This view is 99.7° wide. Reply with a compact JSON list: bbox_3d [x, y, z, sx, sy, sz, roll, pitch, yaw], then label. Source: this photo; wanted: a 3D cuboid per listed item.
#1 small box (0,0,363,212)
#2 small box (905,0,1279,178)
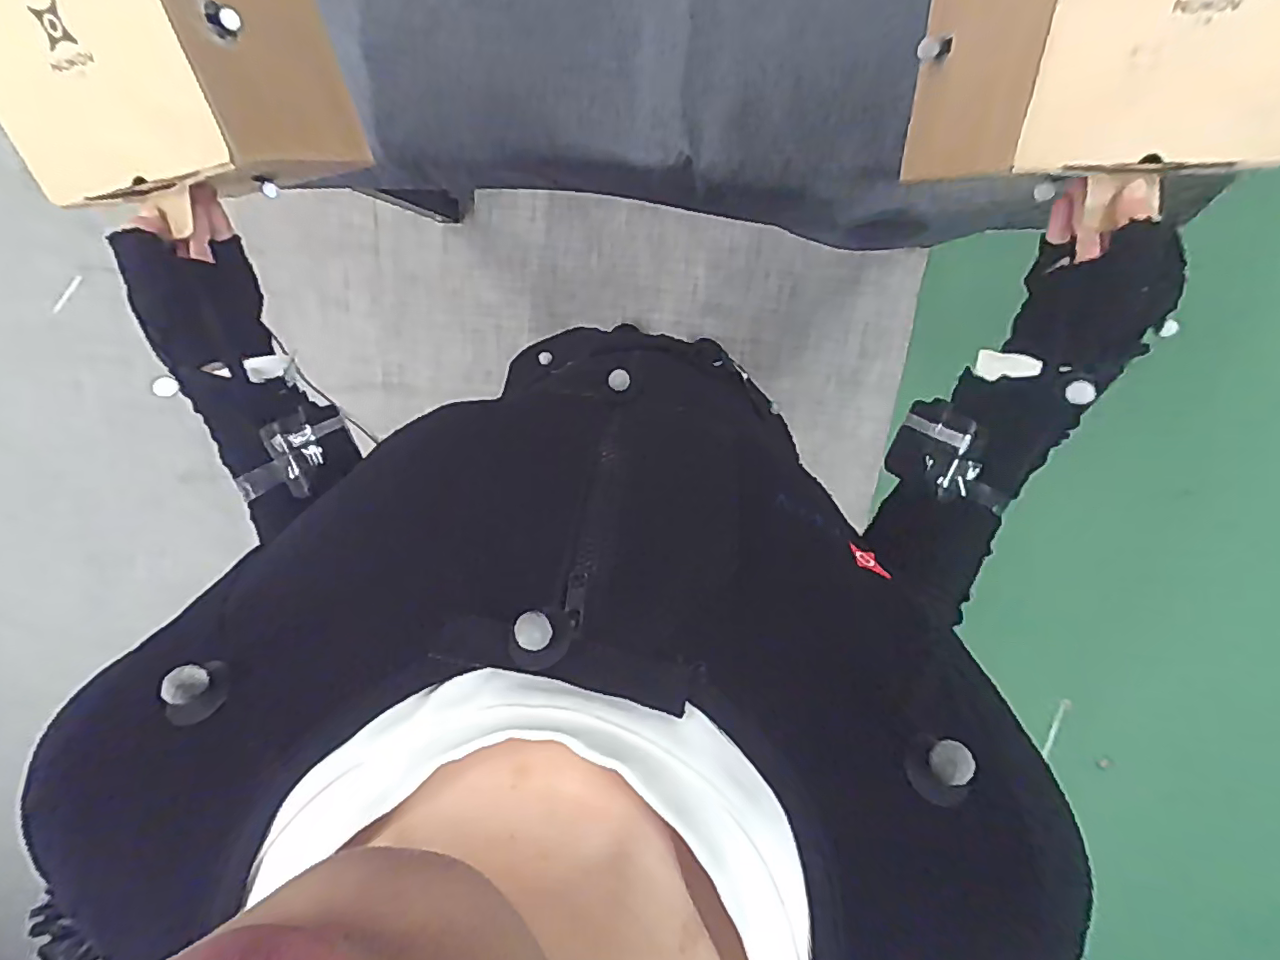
[{"bbox_3d":[-0.347,-0.313,0.400,0.168,0.176,0.179,-5,118,12],"label":"small box"},{"bbox_3d":[0.302,-0.302,0.359,0.168,0.176,0.179,0,118,1],"label":"small box"}]
